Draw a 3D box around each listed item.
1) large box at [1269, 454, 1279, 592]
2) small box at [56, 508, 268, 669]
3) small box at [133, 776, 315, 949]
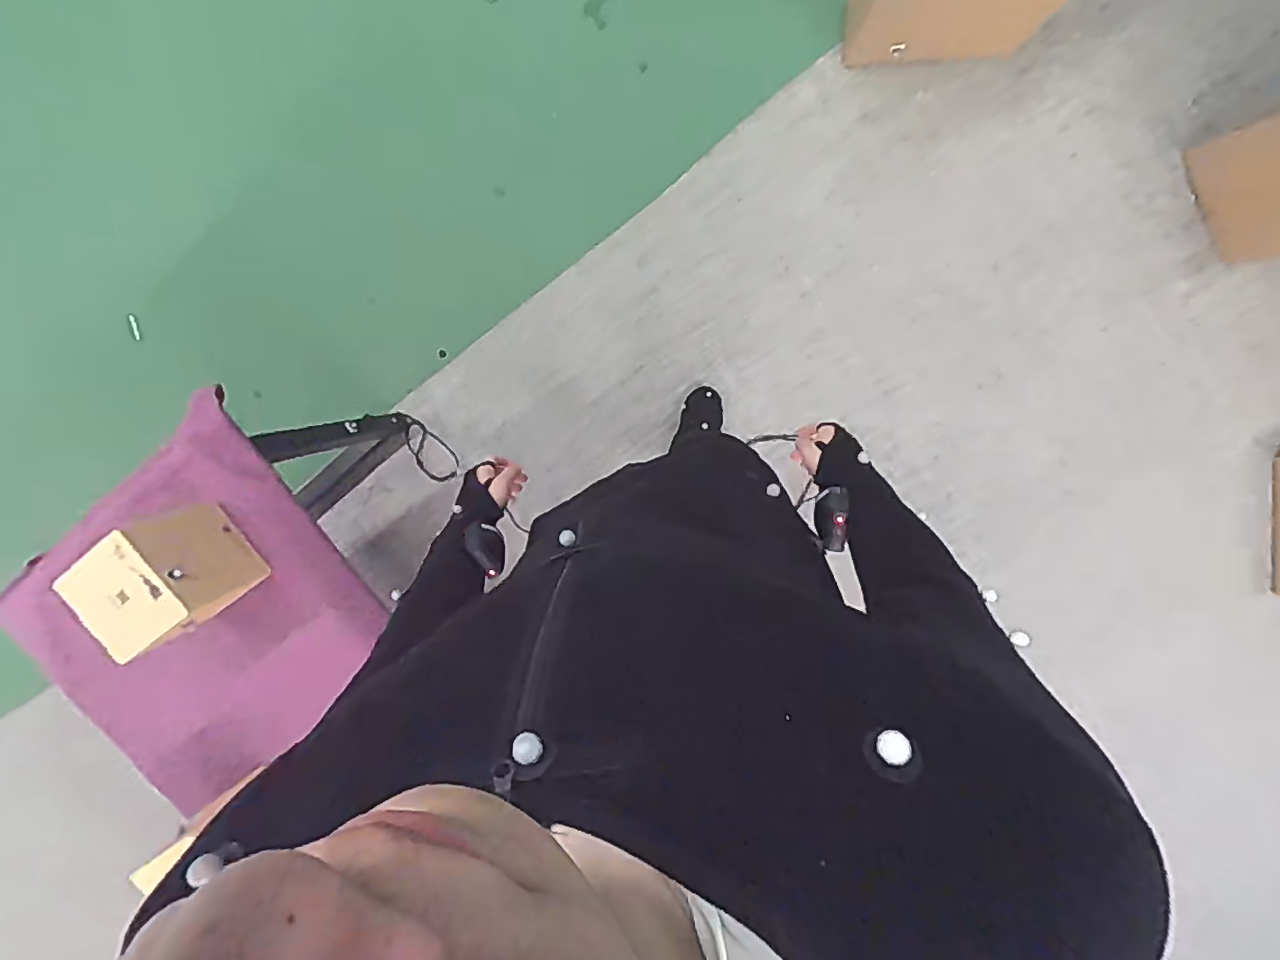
[{"bbox_3d":[1.859,0.125,1.312,0.320,0.320,0.408,-11,99,7],"label":"large box"},{"bbox_3d":[-0.784,0.173,0.906,0.179,0.176,0.168,-33,98,13],"label":"small box"},{"bbox_3d":[-0.768,0.708,1.017,0.179,0.176,0.168,-36,96,10],"label":"small box"}]
